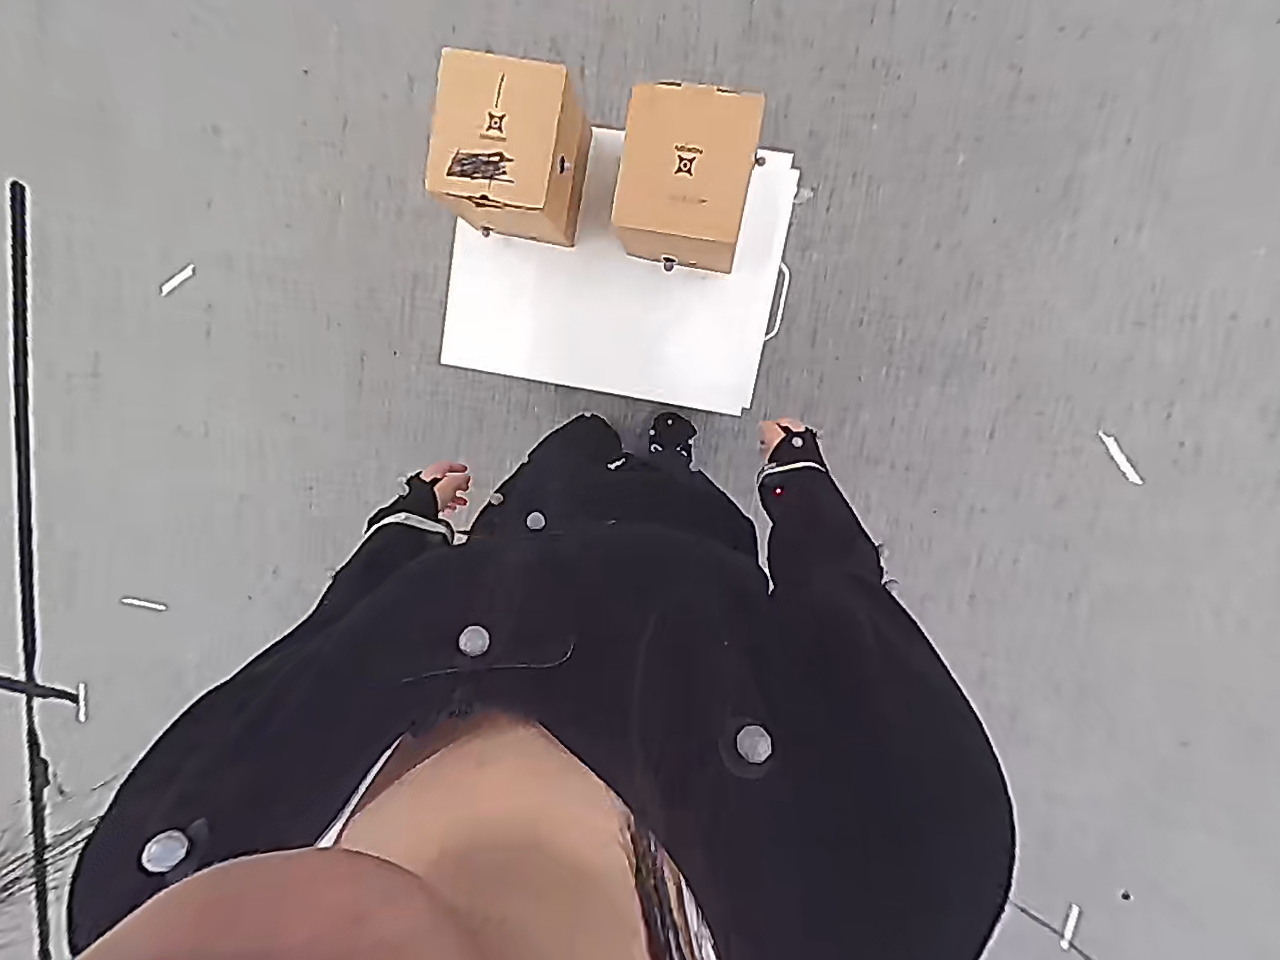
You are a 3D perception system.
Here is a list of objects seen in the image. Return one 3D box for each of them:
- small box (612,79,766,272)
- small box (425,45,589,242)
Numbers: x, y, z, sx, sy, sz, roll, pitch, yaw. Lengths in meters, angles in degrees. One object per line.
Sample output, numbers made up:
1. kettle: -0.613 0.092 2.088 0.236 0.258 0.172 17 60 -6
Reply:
1. small box: 0.068 -0.406 0.748 0.168 0.176 0.179 11 100 6
2. small box: -0.177 -0.457 0.765 0.168 0.176 0.179 12 99 4
